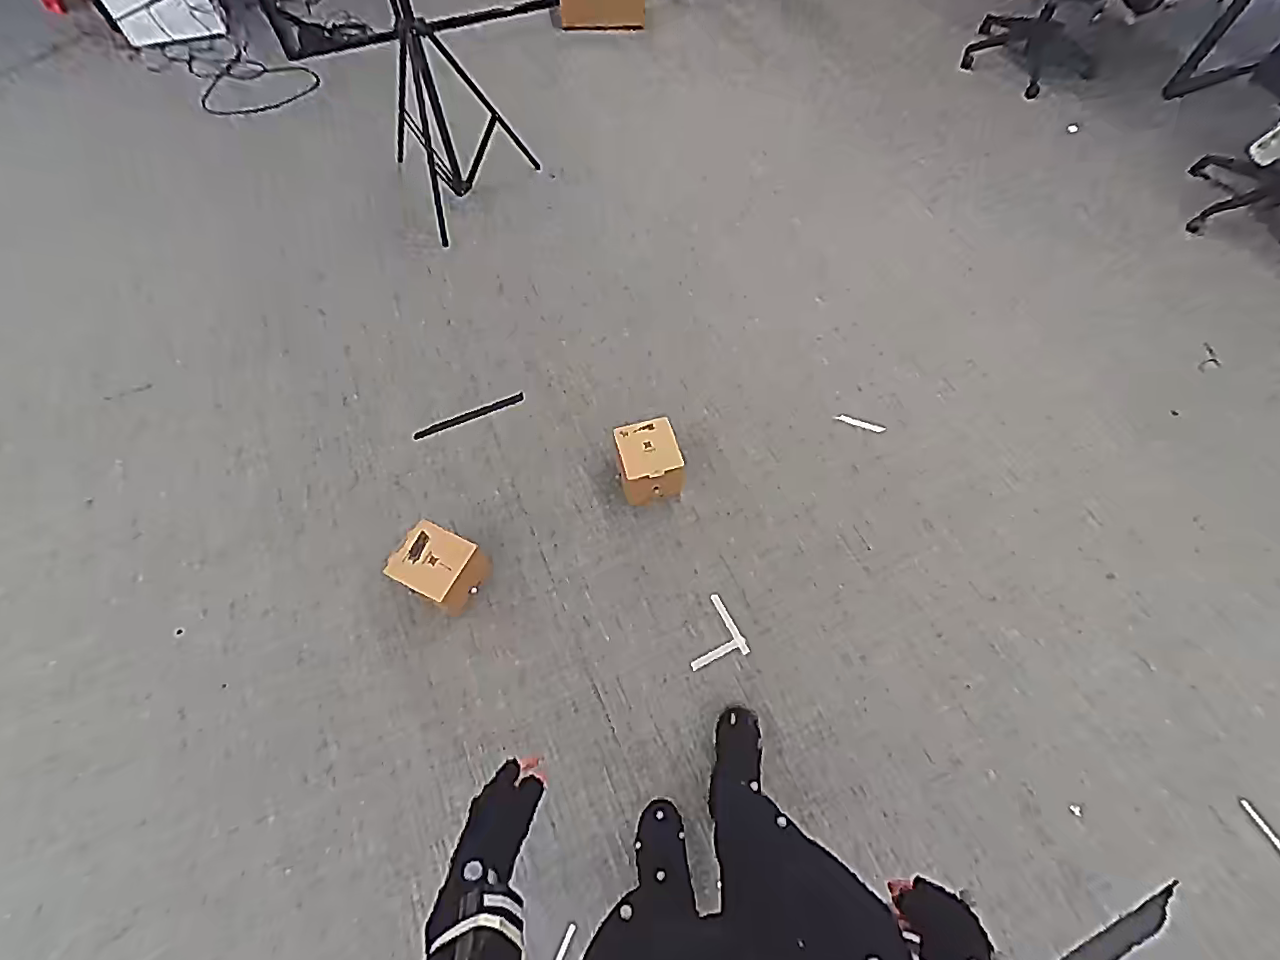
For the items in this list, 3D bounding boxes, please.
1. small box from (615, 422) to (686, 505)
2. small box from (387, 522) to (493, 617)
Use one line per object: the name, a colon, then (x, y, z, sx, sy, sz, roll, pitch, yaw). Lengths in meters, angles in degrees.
small box: (0.028, -0.040, 1.579, 0.168, 0.176, 0.179, -13, 64, -8)
small box: (-0.517, 0.242, 1.424, 0.179, 0.176, 0.168, 24, 65, 11)
